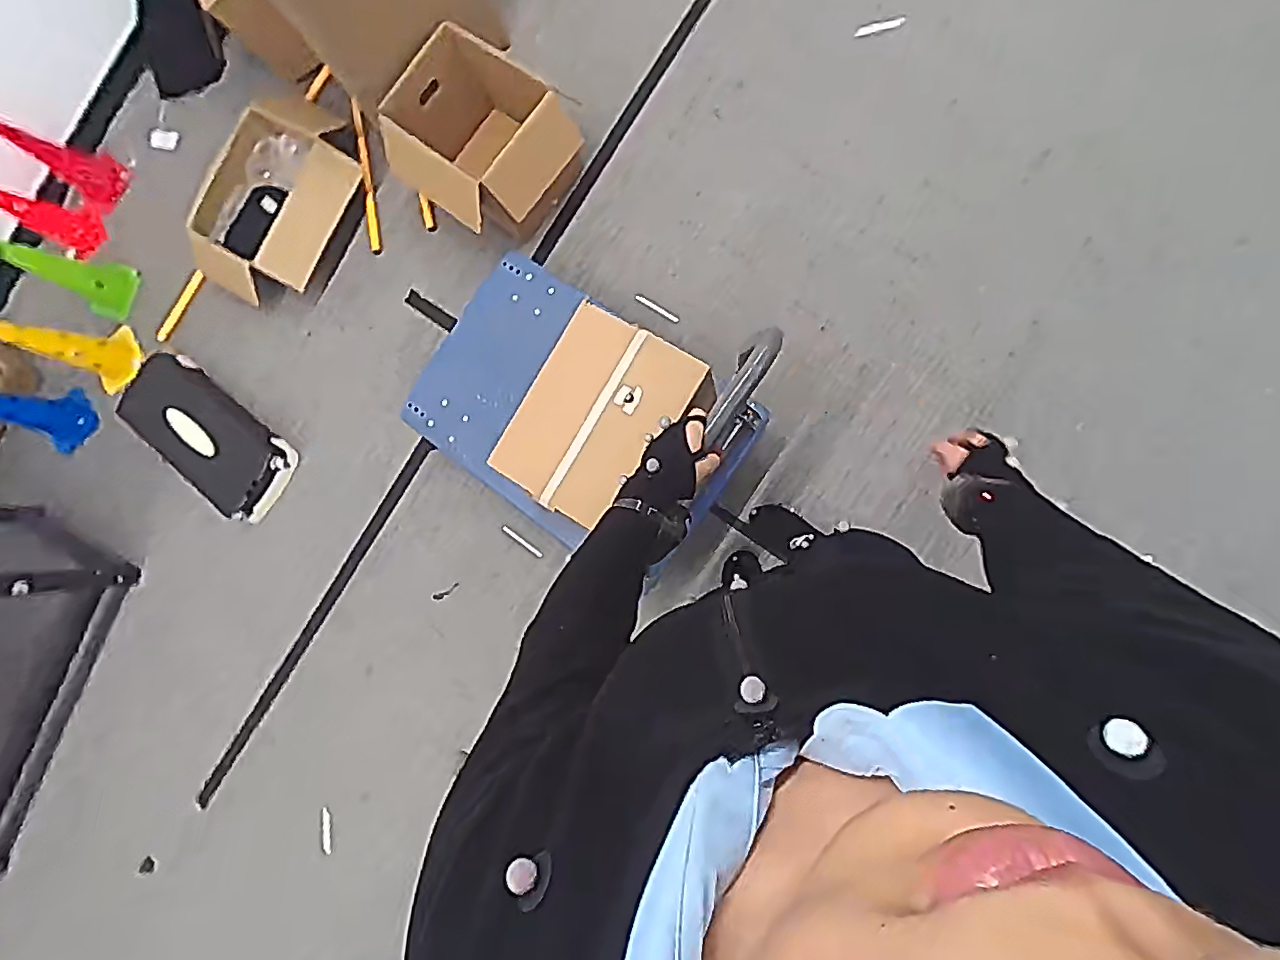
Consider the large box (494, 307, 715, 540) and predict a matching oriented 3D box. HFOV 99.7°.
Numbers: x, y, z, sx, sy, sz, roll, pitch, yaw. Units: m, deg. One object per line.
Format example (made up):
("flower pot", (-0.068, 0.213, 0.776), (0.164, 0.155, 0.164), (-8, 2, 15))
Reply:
("large box", (-0.061, -0.106, 1.255), (0.320, 0.320, 0.408), (30, 89, 12))
